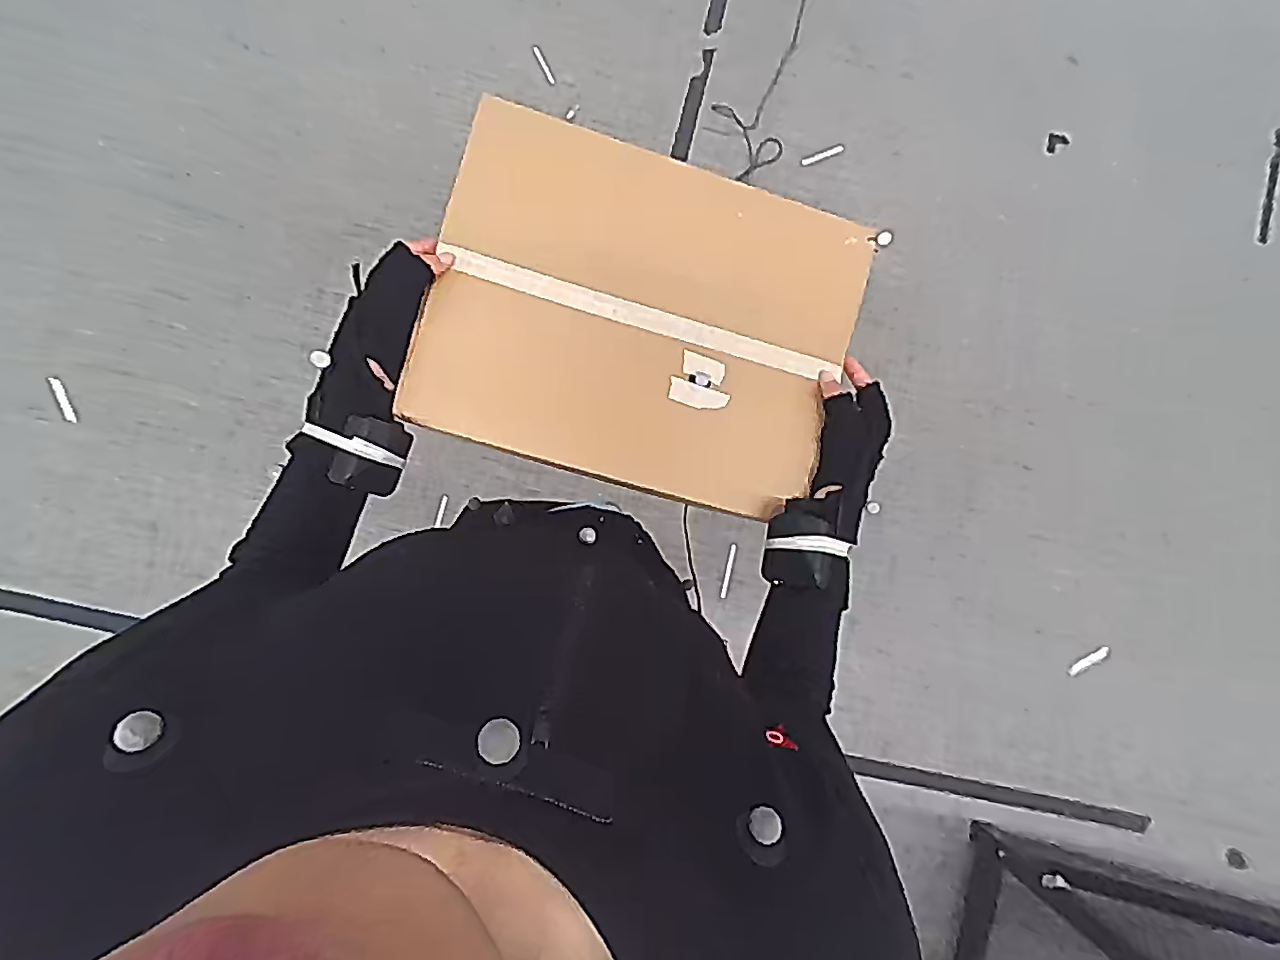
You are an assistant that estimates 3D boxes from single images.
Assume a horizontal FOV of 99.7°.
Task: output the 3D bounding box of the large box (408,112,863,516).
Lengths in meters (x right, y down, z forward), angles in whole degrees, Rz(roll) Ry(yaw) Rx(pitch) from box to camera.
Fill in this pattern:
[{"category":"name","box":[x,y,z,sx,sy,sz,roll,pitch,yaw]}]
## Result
[{"category":"large box","box":[-0.013,-0.158,0.681,0.408,0.320,0.320,16,89,-7]}]
